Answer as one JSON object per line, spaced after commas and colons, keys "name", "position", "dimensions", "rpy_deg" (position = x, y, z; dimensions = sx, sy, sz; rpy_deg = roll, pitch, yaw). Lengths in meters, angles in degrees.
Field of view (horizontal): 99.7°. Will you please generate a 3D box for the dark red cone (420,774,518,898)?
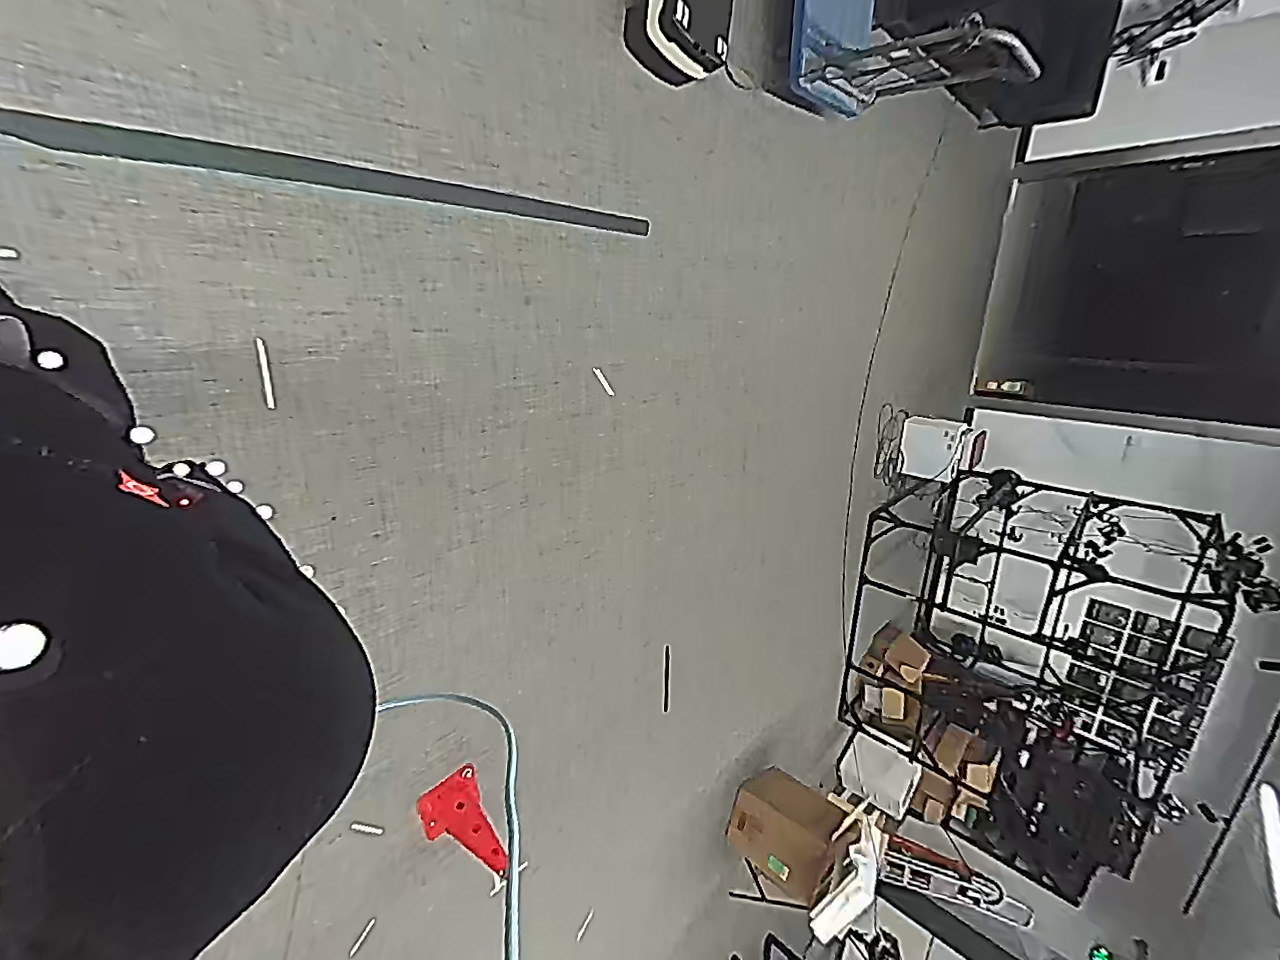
{"name": "dark red cone", "position": [-0.503, 1.133, 1.680], "dimensions": [0.201, 0.394, 0.202], "rpy_deg": [-25, 120, -40]}
